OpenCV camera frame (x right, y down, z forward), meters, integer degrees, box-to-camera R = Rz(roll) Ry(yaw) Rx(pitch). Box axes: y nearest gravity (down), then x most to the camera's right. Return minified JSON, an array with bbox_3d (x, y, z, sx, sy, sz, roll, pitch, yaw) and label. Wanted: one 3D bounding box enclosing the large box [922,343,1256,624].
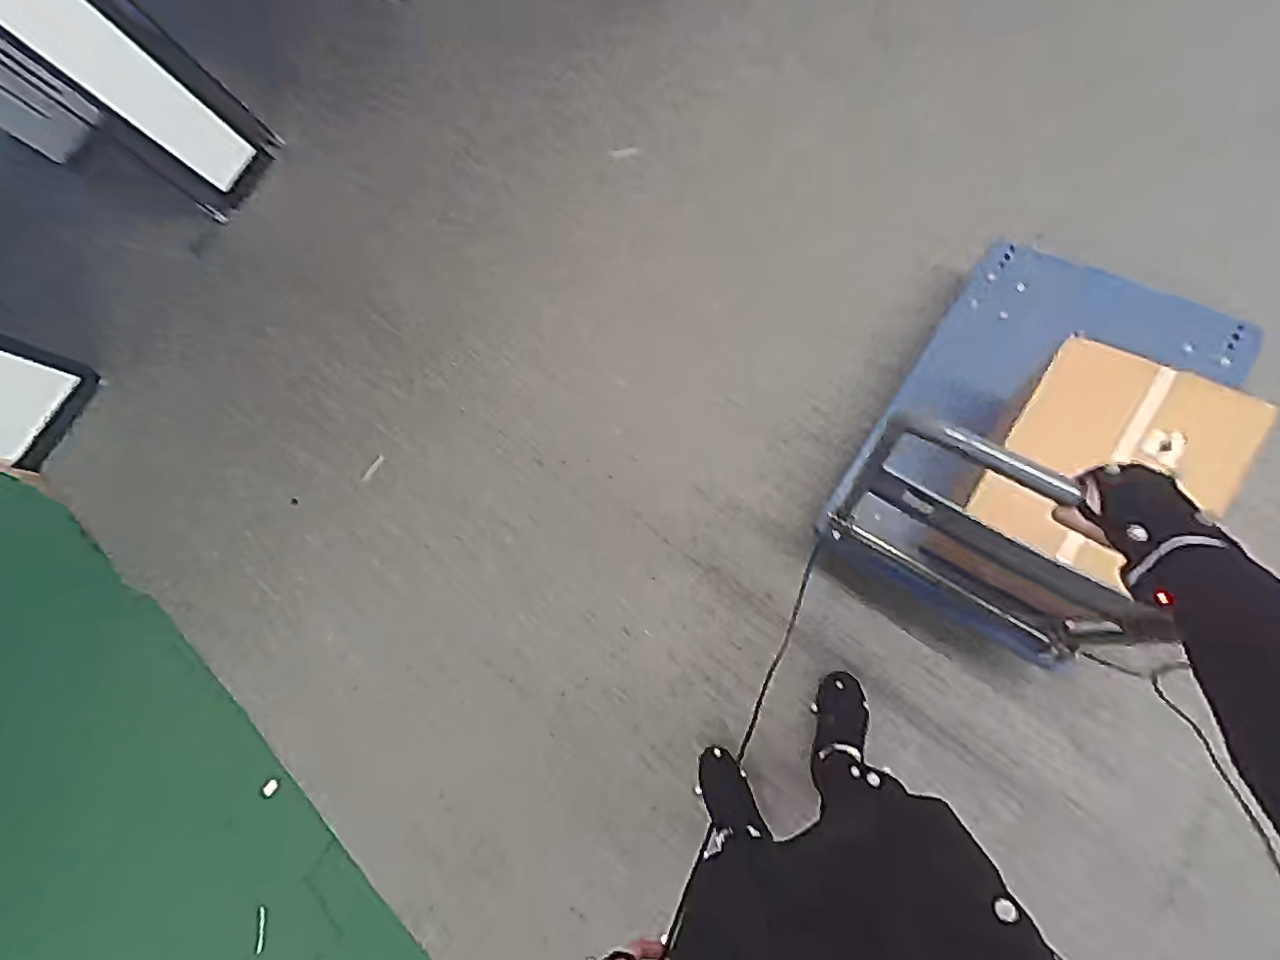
[{"bbox_3d":[0.822,0.025,1.055,0.320,0.320,0.408,31,84,20],"label":"large box"}]
